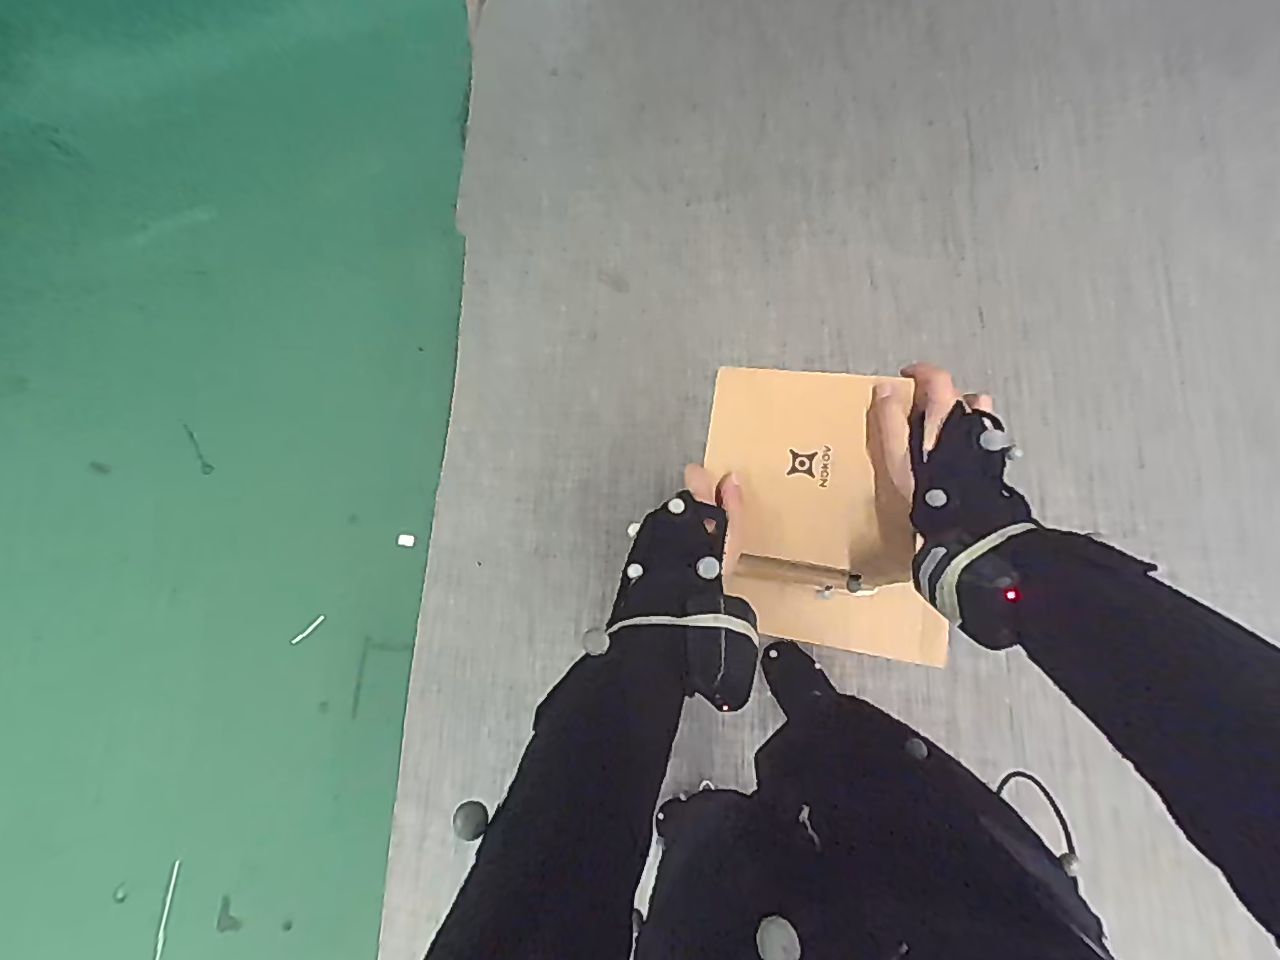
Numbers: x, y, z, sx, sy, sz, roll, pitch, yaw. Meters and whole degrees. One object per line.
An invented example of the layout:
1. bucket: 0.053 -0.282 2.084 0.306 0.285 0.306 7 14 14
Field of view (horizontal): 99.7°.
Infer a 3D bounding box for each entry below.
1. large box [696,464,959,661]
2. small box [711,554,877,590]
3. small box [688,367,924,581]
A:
1. large box: 0.340 0.140 1.043 0.408 0.320 0.320 6 82 15
2. small box: 0.193 0.046 0.676 0.179 0.176 0.168 3 78 17
3. small box: 0.156 0.003 0.525 0.179 0.176 0.168 6 79 16
